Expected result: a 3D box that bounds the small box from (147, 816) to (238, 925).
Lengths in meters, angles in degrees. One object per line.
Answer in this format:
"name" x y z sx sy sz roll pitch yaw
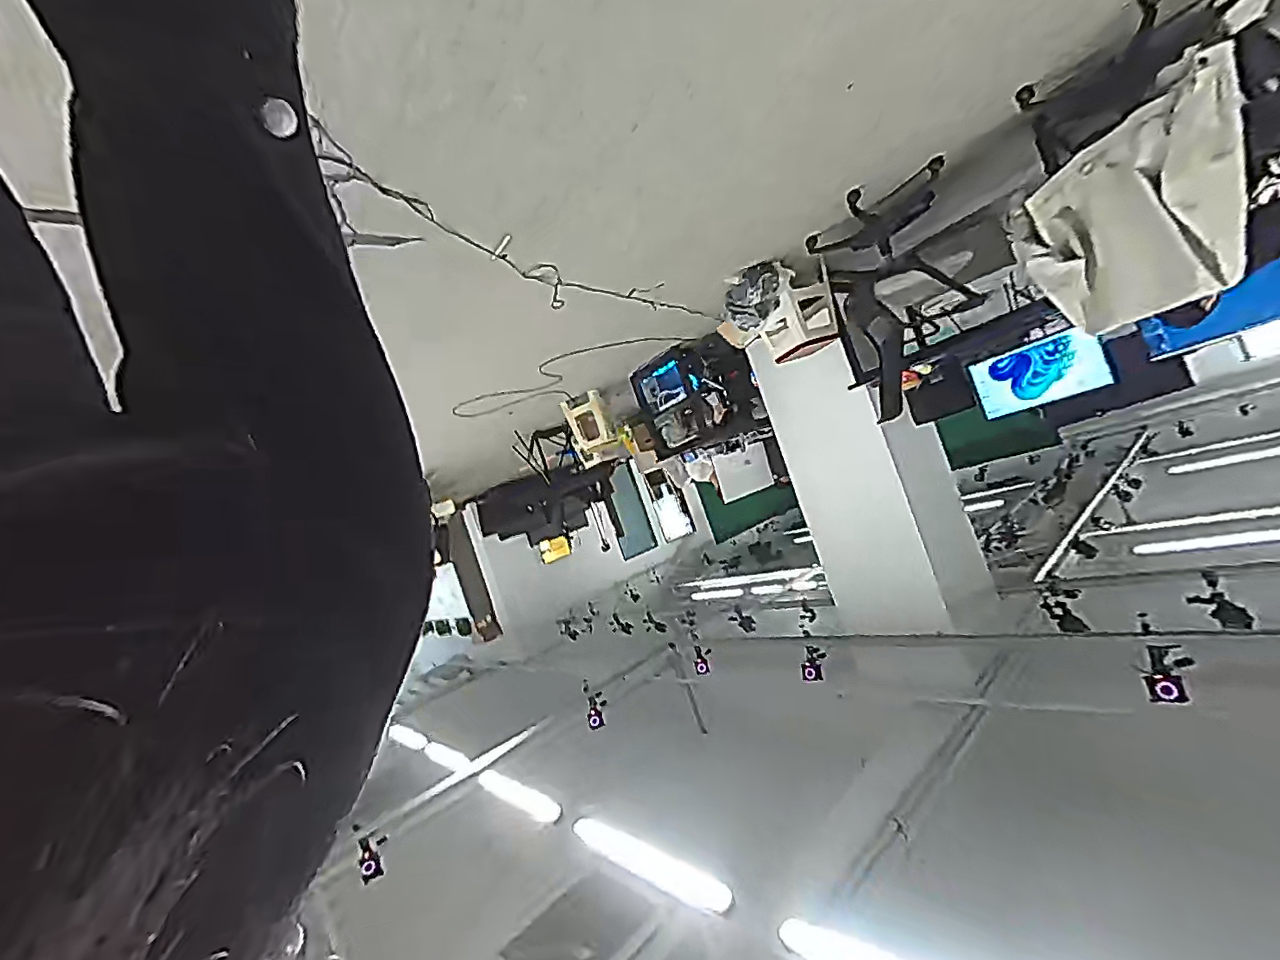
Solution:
"small box" -1.304 1.130 1.583 0.168 0.176 0.179 -17 178 -36
